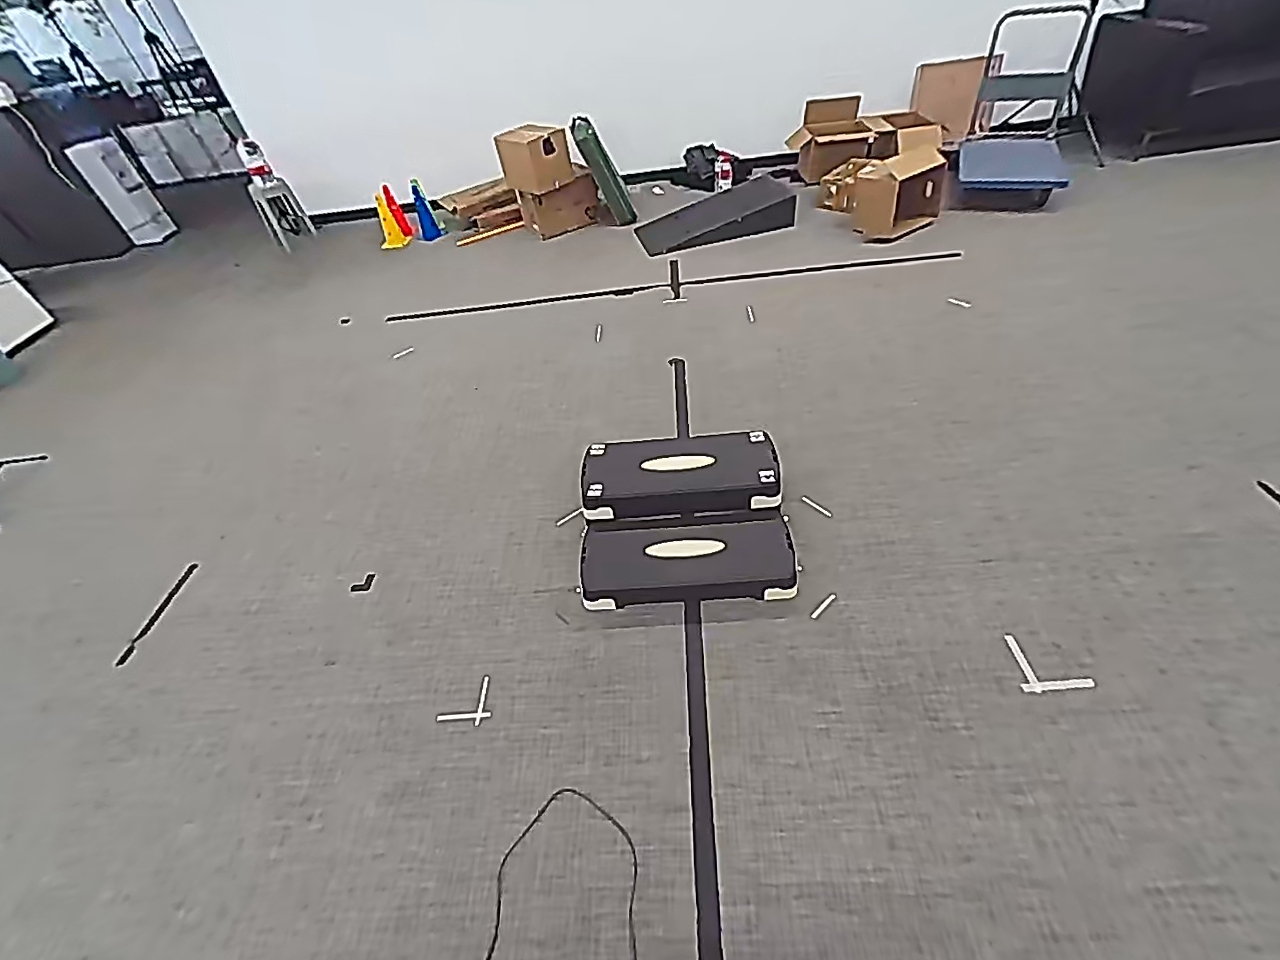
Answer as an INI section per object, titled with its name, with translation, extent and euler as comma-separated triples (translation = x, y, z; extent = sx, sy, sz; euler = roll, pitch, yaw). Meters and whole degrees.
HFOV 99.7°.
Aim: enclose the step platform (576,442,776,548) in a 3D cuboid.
[step platform]
translation = 0.121, 0.045, 1.882
extent = 0.684, 0.204, 0.286
euler = -5, 45, 4
